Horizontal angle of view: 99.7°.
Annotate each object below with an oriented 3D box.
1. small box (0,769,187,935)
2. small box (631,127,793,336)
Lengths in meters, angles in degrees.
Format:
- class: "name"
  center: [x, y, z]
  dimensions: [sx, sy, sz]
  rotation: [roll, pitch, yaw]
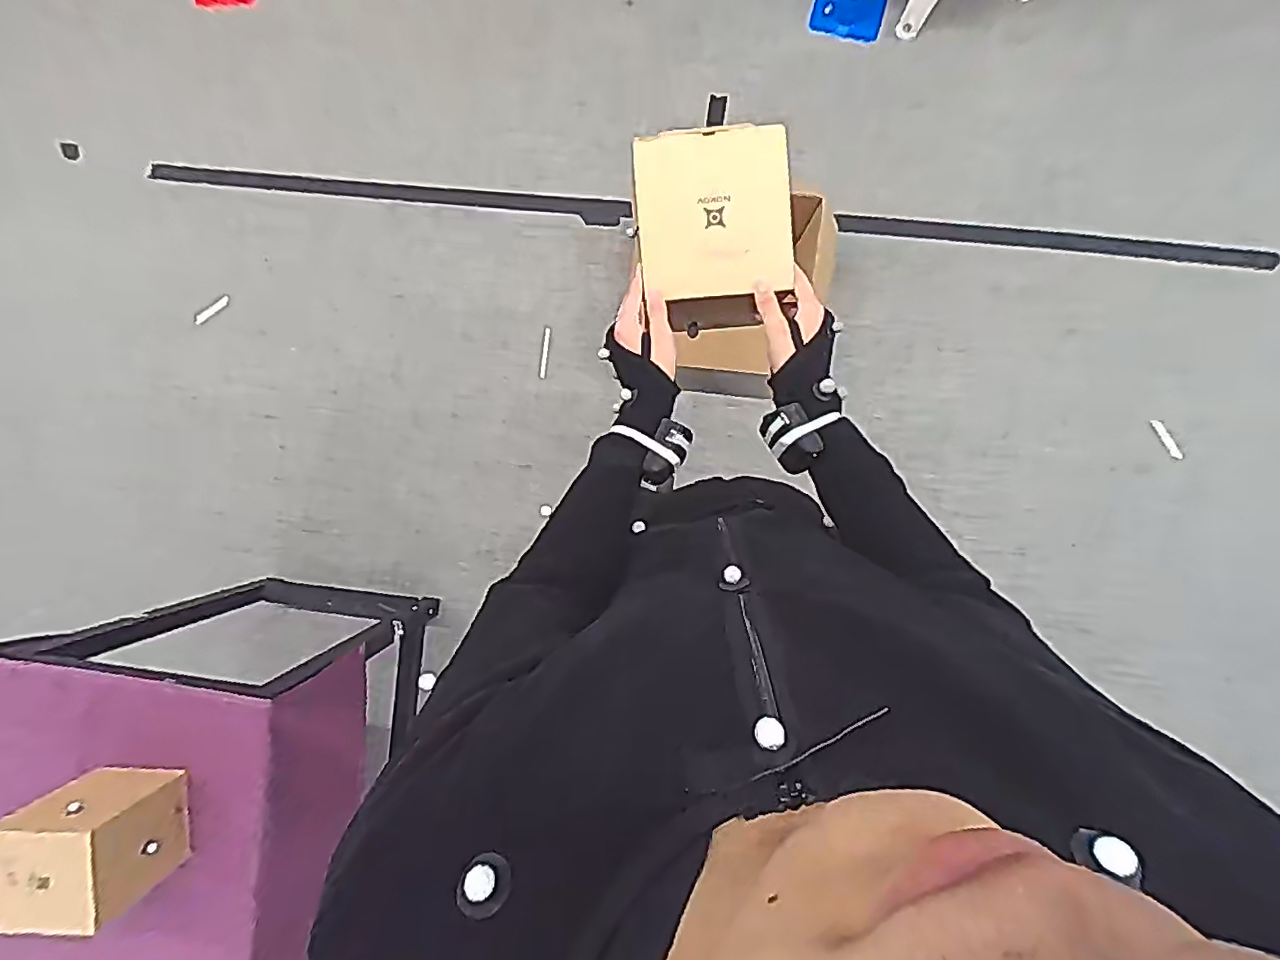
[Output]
- class: "small box"
  center: [-0.914, 0.616, 0.915]
  dimensions: [0.179, 0.176, 0.168]
  rotation: [0, 93, 4]
- class: "small box"
  center: [0.076, -0.285, 0.654]
  dimensions: [0.168, 0.176, 0.179]
  rotation: [-5, 92, 0]
